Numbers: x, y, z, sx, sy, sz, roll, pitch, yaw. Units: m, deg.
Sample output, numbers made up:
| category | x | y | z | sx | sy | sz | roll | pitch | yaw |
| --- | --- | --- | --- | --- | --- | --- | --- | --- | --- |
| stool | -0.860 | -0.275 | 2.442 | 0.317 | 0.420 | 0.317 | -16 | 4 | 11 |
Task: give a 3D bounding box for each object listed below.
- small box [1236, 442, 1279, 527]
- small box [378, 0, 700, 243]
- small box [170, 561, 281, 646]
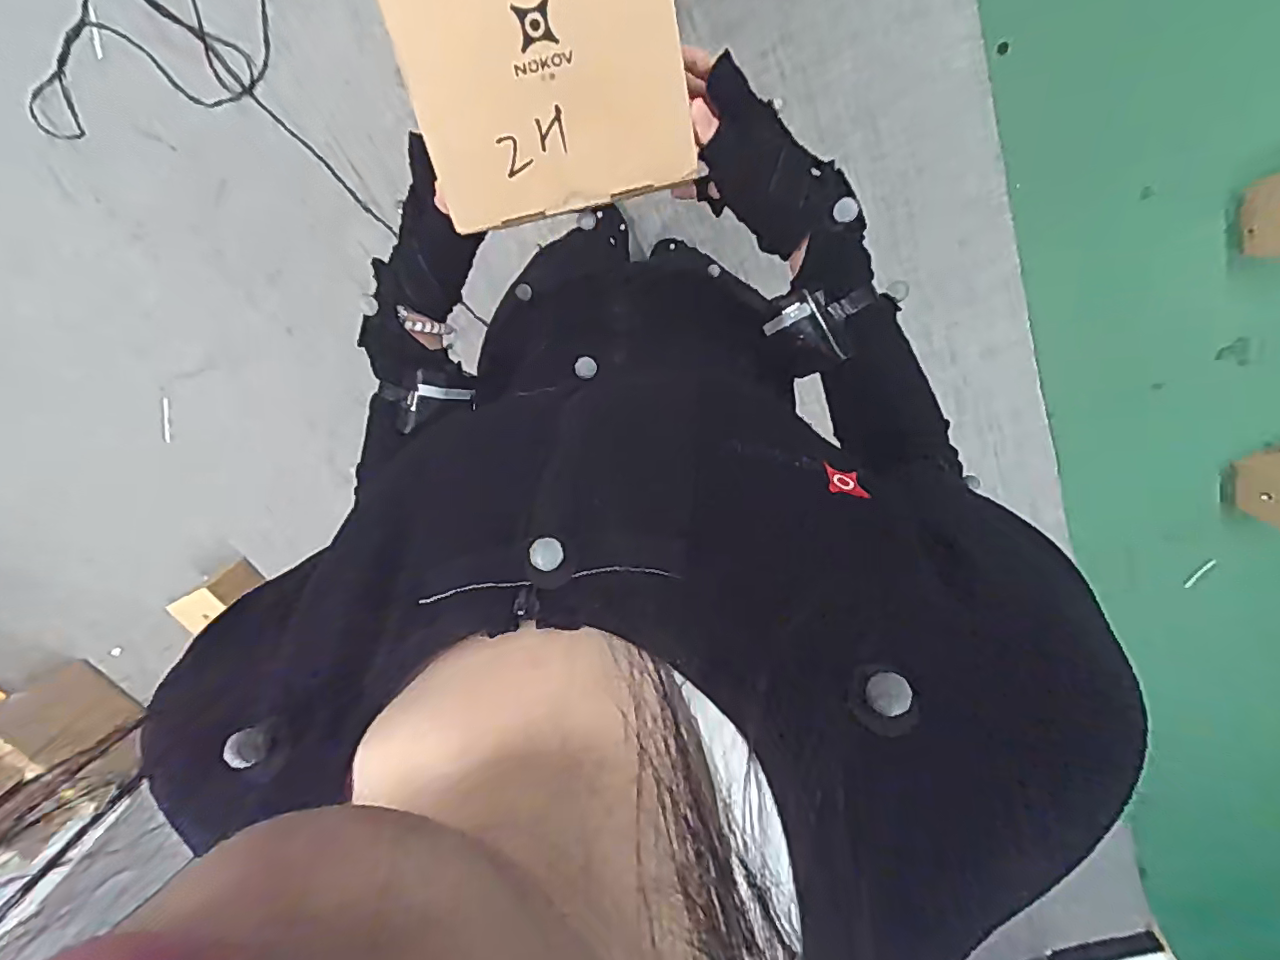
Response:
| category | x | y | z | sx | sy | sz | roll | pitch | yaw |
| --- | --- | --- | --- | --- | --- | --- | --- | --- | --- |
| small box | 1.765 | 0.009 | 1.447 | 0.168 | 0.176 | 0.179 | -22 | 113 | 11 |
| small box | -0.061 | -0.279 | 0.382 | 0.168 | 0.176 | 0.179 | -12 | 117 | 3 |
| small box | -1.284 | 0.377 | 1.688 | 0.168 | 0.176 | 0.179 | -25 | 114 | 12 |
